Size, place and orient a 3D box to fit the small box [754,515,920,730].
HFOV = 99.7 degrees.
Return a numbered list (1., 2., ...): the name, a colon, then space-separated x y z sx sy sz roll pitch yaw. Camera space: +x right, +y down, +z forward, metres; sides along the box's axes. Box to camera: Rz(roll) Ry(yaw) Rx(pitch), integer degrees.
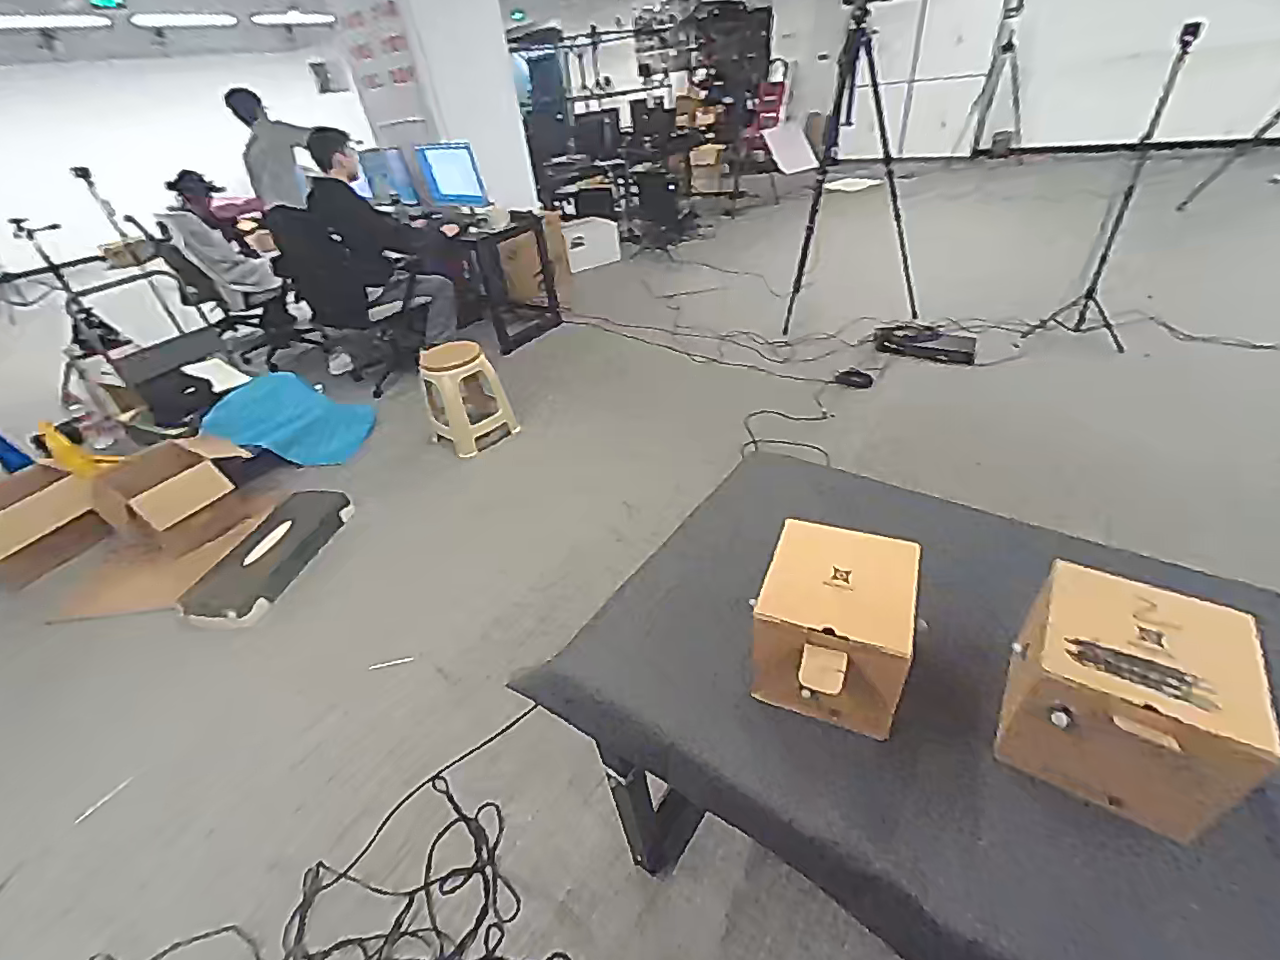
1. small box: 0.246 0.176 0.690 0.168 0.176 0.179 11 41 22
